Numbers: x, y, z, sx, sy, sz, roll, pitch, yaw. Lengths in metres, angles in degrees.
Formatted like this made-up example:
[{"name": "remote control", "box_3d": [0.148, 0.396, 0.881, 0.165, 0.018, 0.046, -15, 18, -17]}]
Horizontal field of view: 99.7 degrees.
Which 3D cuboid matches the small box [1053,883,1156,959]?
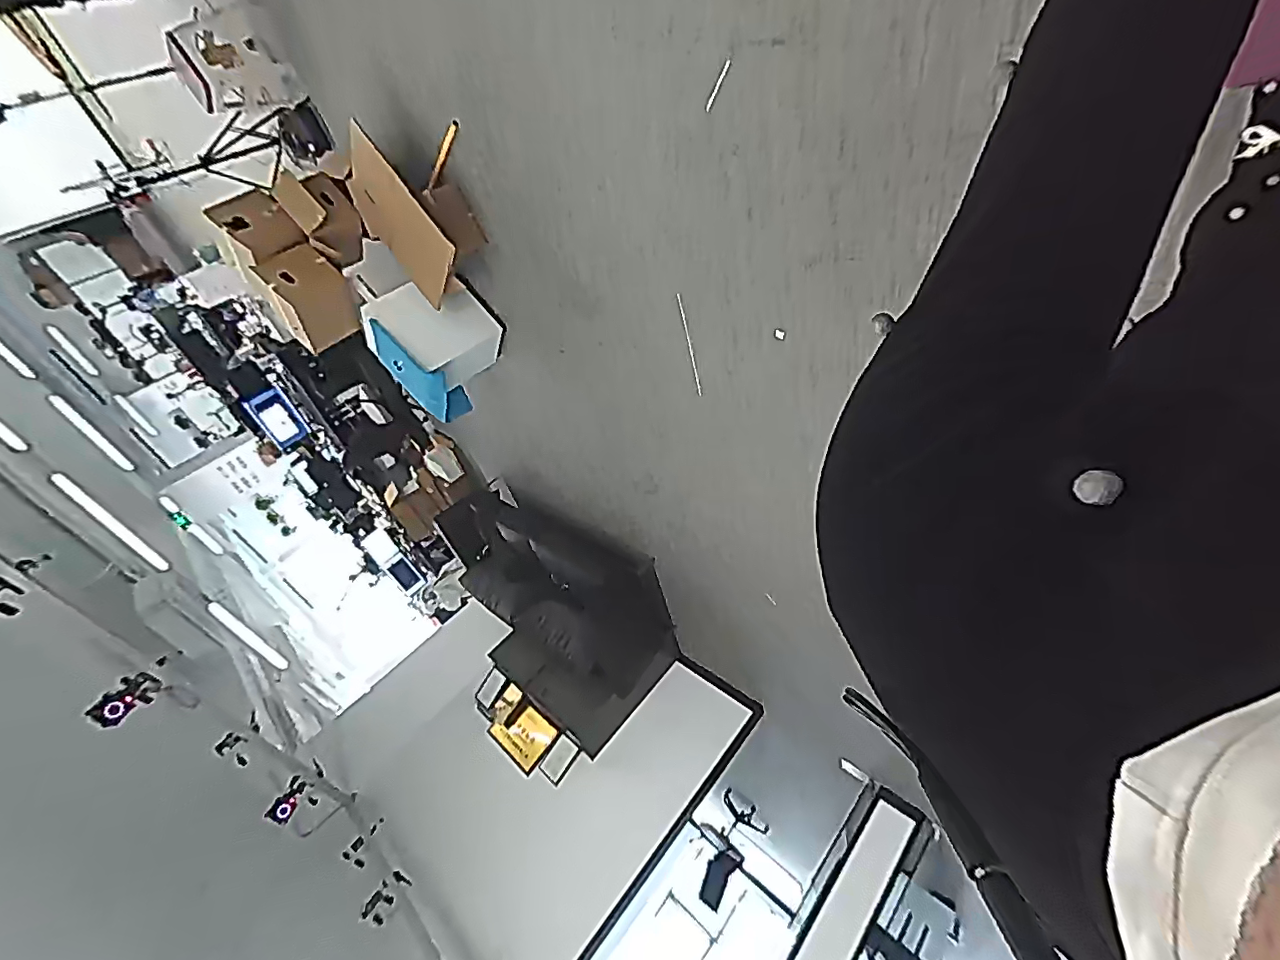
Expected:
[{"name": "small box", "box_3d": [1.335, 1.313, 1.555, 0.168, 0.176, 0.179, 26, 145, 36]}]
